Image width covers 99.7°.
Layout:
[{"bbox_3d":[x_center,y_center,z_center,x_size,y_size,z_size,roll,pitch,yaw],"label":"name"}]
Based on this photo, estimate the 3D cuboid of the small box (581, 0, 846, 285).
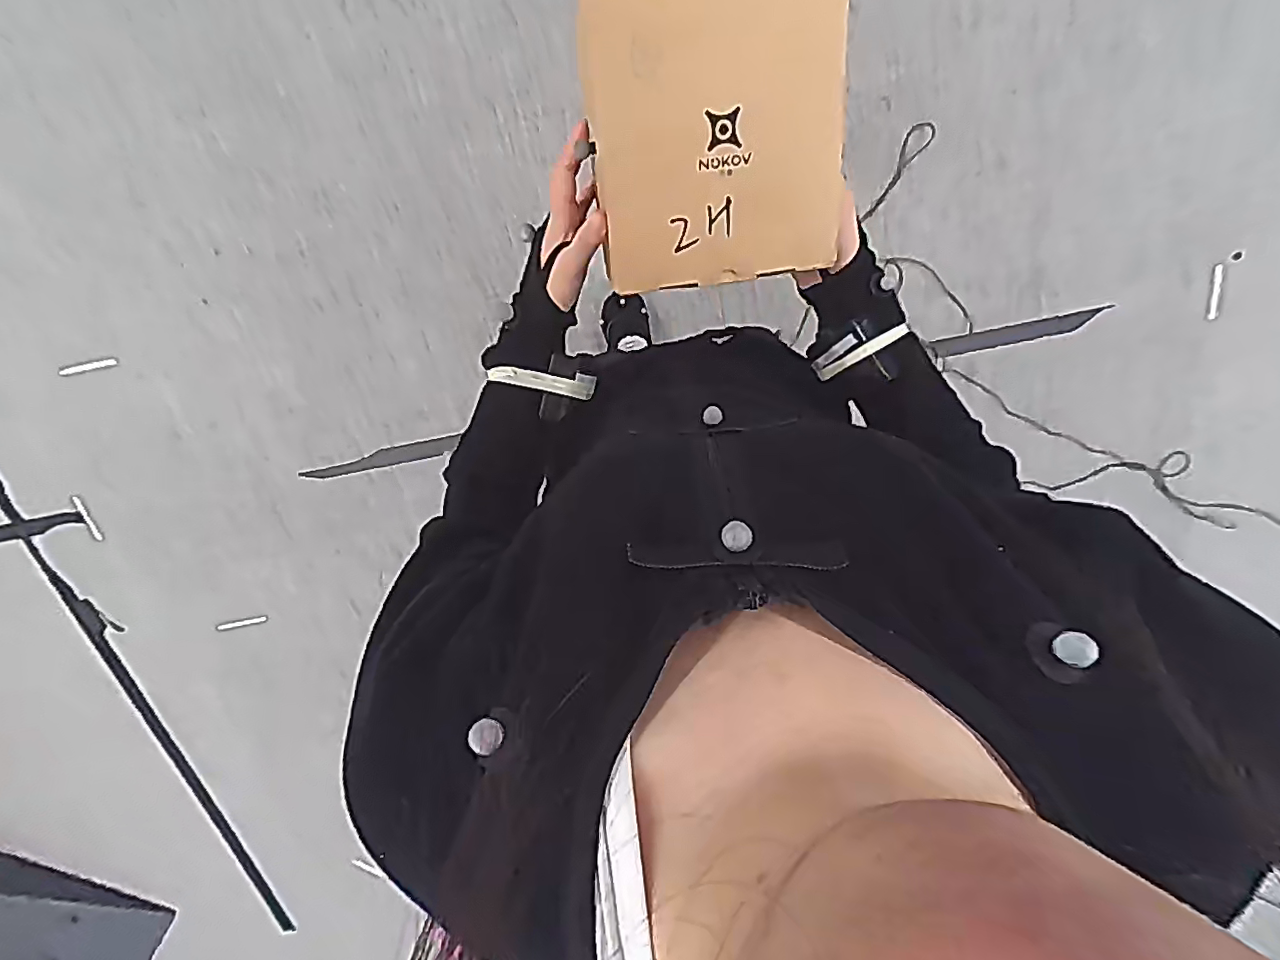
[{"bbox_3d":[0.046,-0.263,0.431,0.168,0.176,0.179,-9,117,-2],"label":"small box"}]
